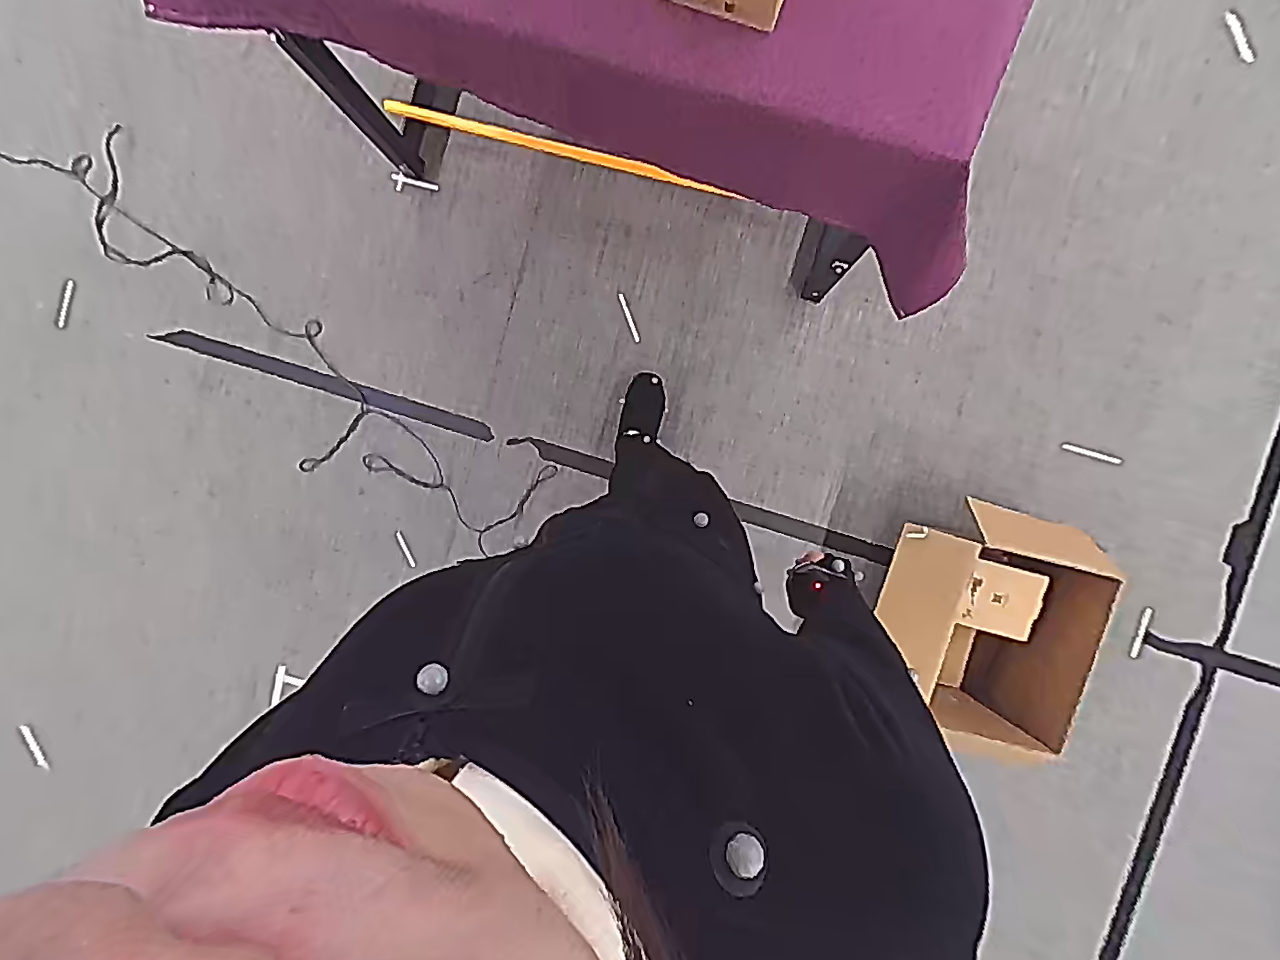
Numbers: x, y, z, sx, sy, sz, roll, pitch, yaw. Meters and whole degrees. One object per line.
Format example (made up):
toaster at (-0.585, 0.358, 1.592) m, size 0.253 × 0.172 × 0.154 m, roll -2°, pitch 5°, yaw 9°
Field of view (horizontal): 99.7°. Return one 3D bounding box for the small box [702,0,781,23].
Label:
small box at (0.121, -0.701, 0.634) m, size 0.168 × 0.176 × 0.179 m, roll 20°, pitch 93°, yaw 2°
